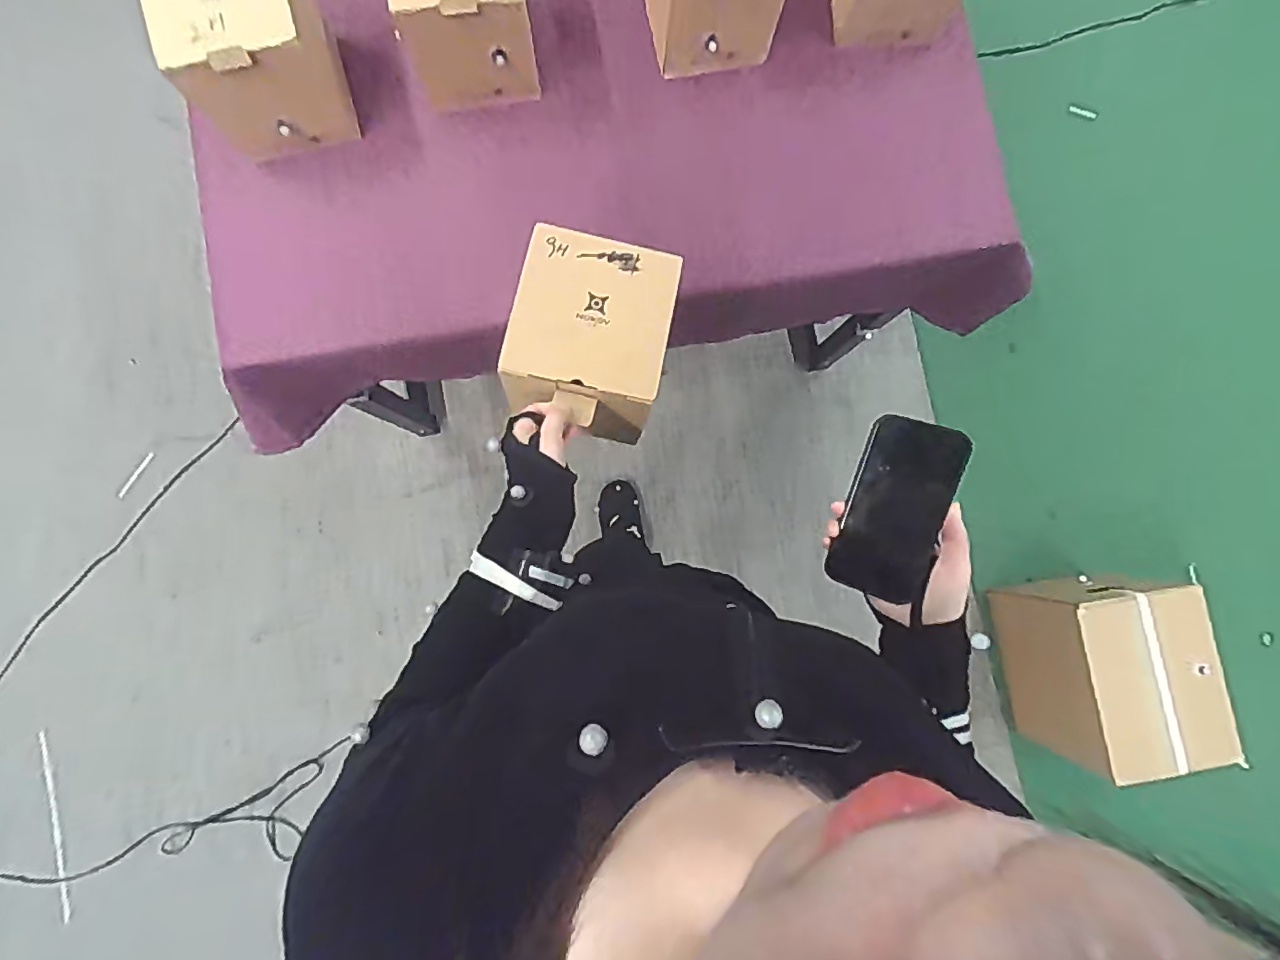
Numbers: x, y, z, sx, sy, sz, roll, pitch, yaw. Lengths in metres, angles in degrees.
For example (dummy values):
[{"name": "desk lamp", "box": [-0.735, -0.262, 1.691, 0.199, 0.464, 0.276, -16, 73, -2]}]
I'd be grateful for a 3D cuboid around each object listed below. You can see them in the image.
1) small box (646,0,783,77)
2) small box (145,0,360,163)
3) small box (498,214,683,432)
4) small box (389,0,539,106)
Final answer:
[{"name": "small box", "box": [0.101, -0.726, 0.765, 0.168, 0.176, 0.179, -12, 87, -3]}, {"name": "small box", "box": [-0.510, -0.573, 0.727, 0.168, 0.176, 0.179, -16, 86, -3]}, {"name": "small box", "box": [-0.055, -0.170, 0.641, 0.168, 0.176, 0.179, 12, 79, -4]}, {"name": "small box", "box": [-0.240, -0.653, 0.745, 0.168, 0.176, 0.179, -10, 86, -4]}]
